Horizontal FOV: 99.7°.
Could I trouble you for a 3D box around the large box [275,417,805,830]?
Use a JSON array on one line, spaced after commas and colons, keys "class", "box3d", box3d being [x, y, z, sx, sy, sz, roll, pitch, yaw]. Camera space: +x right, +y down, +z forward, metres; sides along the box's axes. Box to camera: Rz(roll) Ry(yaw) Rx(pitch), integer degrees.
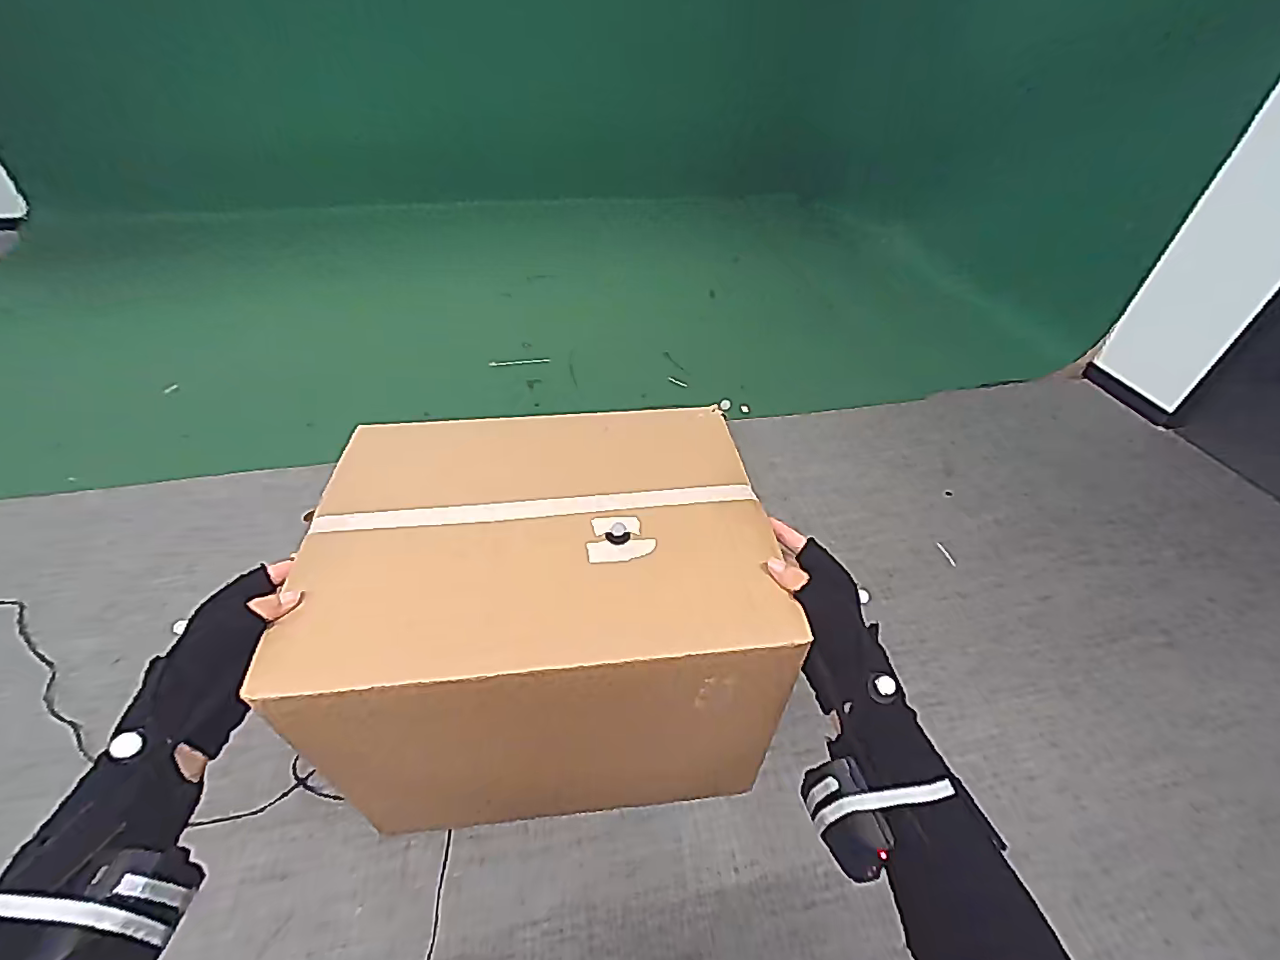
[{"class": "large box", "box3d": [-0.089, 0.149, 0.610, 0.408, 0.320, 0.320, -3, 42, -7]}]
